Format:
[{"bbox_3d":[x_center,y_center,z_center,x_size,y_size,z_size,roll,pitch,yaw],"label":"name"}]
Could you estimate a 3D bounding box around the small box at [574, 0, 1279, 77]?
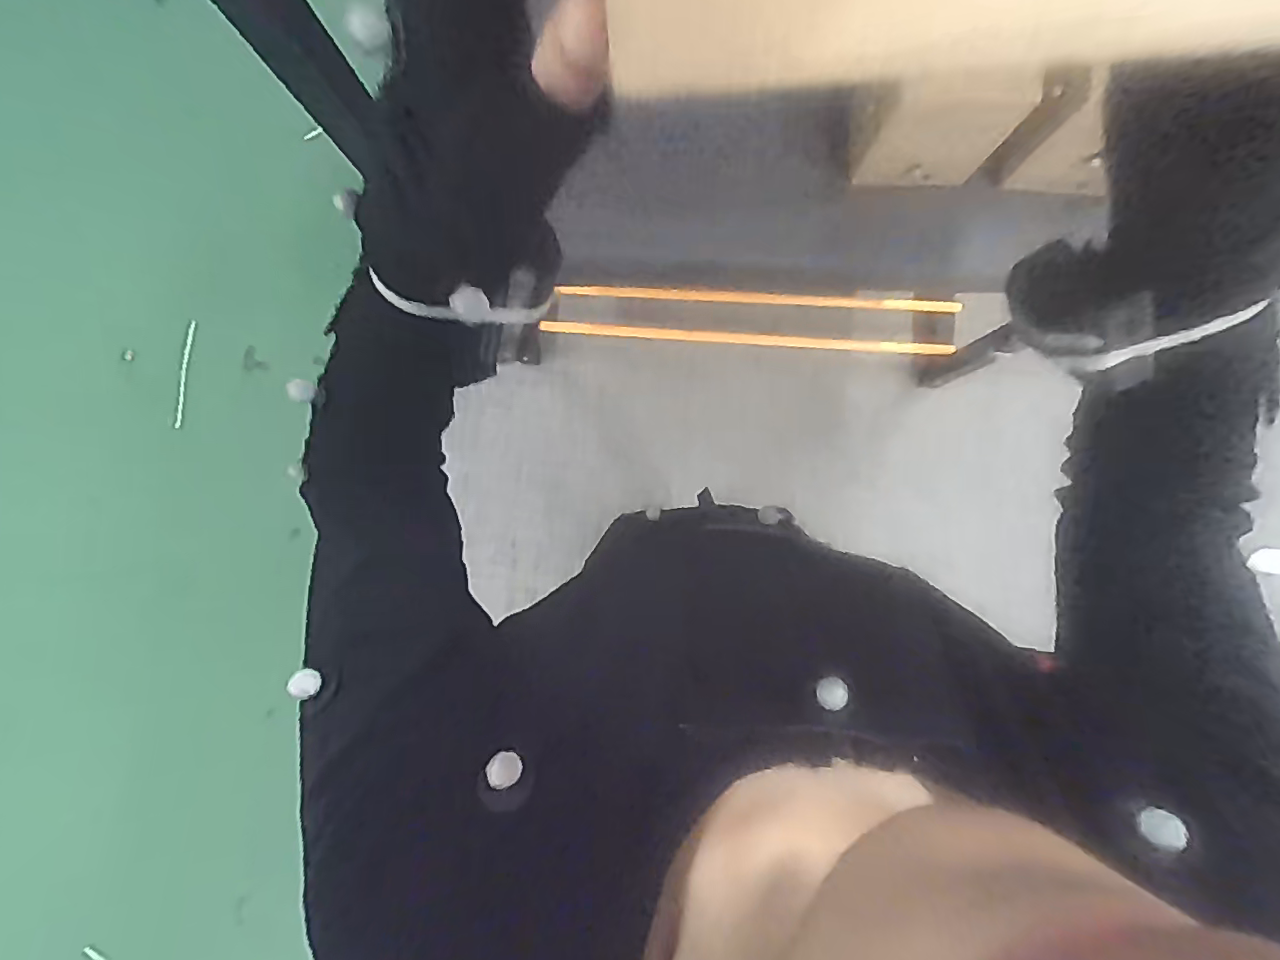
[{"bbox_3d":[0.064,-0.213,0.105,0.168,0.179,0.176,-2,51,4],"label":"small box"}]
